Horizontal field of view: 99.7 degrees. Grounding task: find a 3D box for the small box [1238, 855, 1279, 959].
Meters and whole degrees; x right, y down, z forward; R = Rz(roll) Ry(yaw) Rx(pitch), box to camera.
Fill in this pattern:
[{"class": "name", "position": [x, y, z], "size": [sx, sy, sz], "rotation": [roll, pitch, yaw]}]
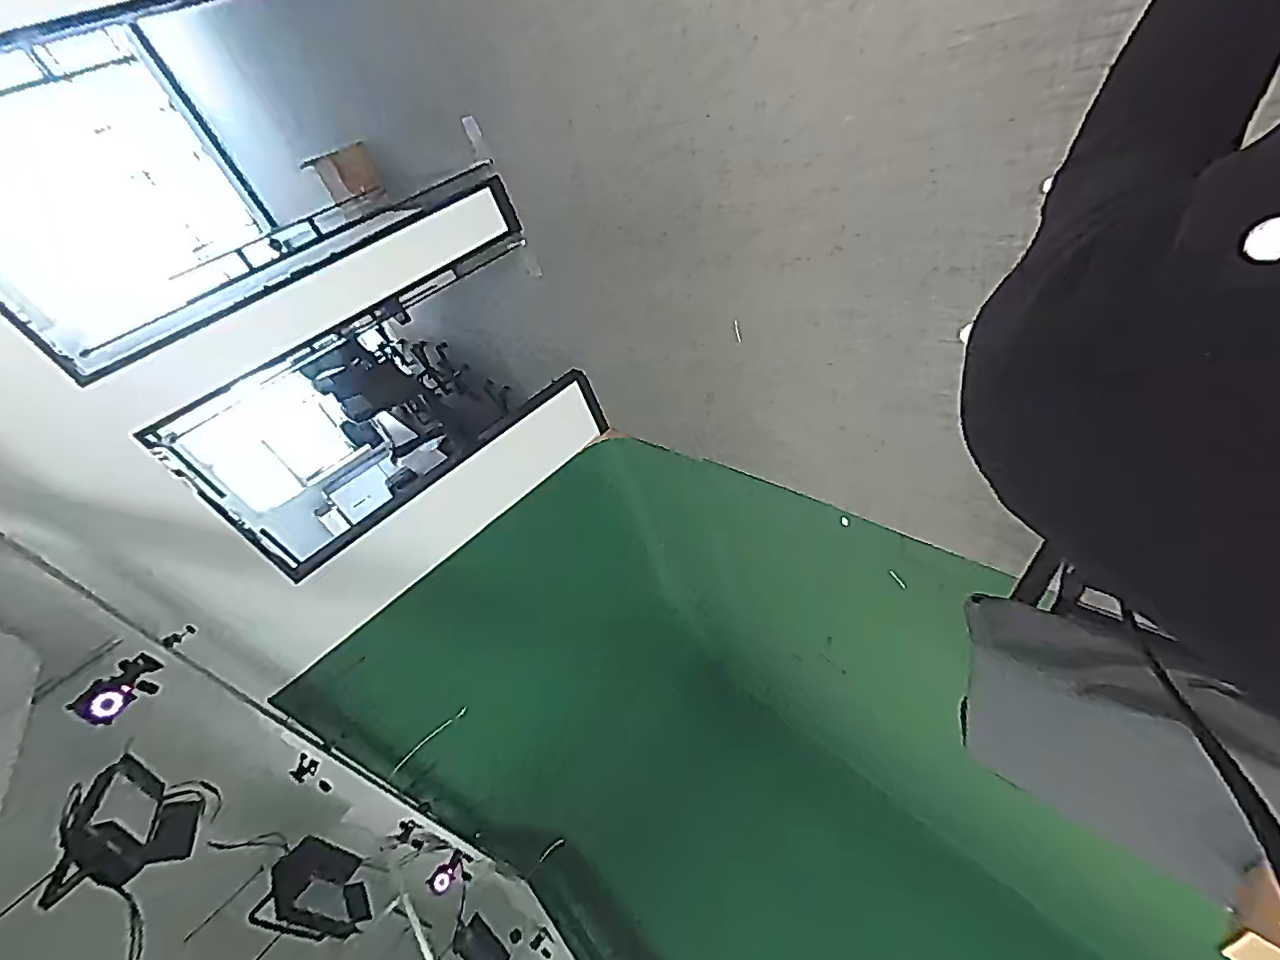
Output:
[{"class": "small box", "position": [1.279, 0.851, 1.009], "size": [0.168, 0.176, 0.179], "rotation": [21, 144, 46]}]
